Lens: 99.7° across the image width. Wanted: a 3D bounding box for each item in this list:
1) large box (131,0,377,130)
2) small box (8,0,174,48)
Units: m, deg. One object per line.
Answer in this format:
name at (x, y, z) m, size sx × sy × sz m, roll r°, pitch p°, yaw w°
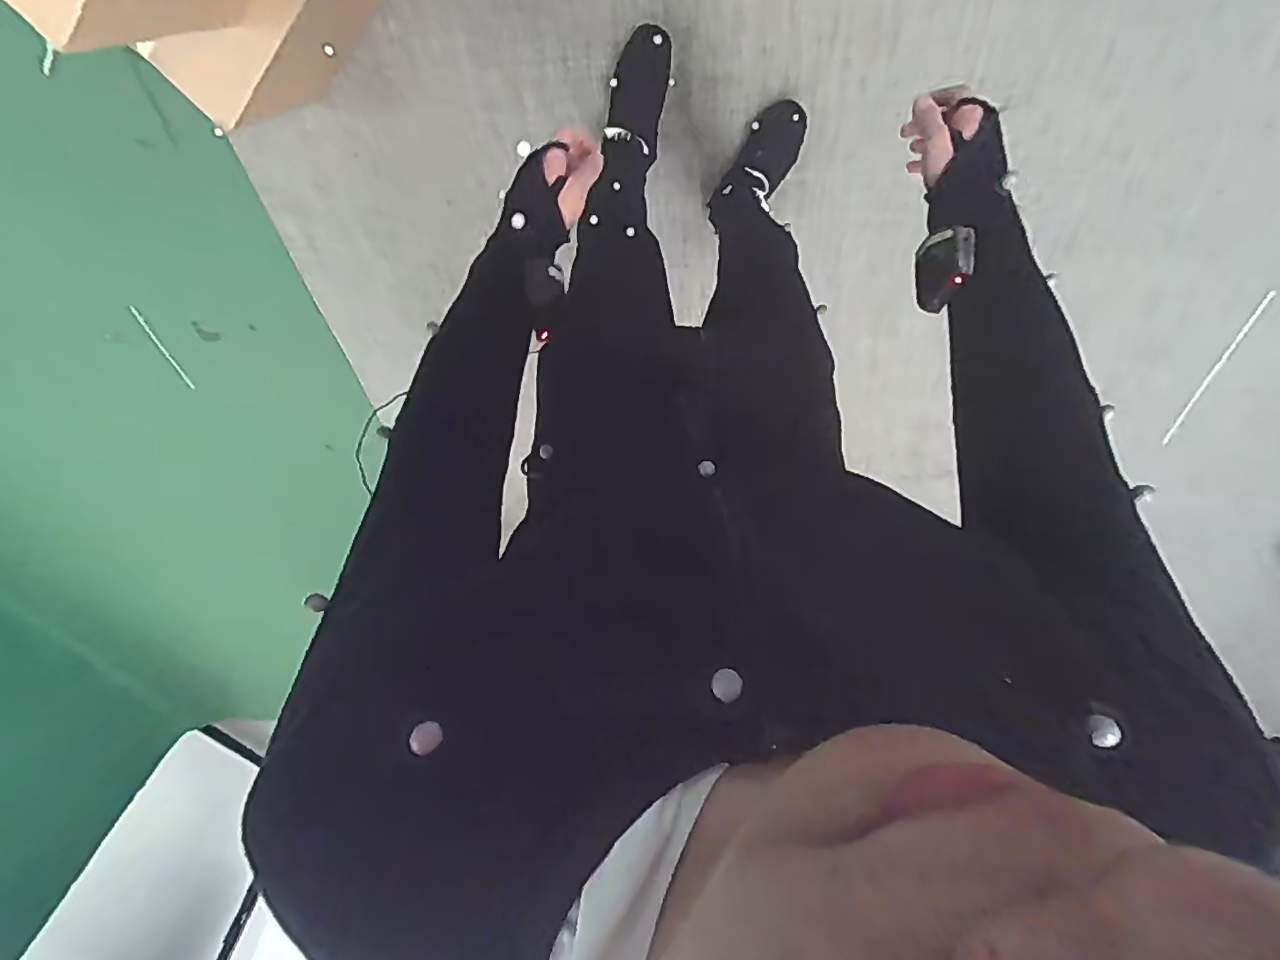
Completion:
large box at (-0.710, -0.947, 0.974) m, size 0.408 × 0.320 × 0.320 m, roll -25°, pitch 124°, yaw 31°
small box at (-0.697, -0.680, 0.656) m, size 0.179 × 0.176 × 0.168 m, roll -22°, pitch 127°, yaw 28°
